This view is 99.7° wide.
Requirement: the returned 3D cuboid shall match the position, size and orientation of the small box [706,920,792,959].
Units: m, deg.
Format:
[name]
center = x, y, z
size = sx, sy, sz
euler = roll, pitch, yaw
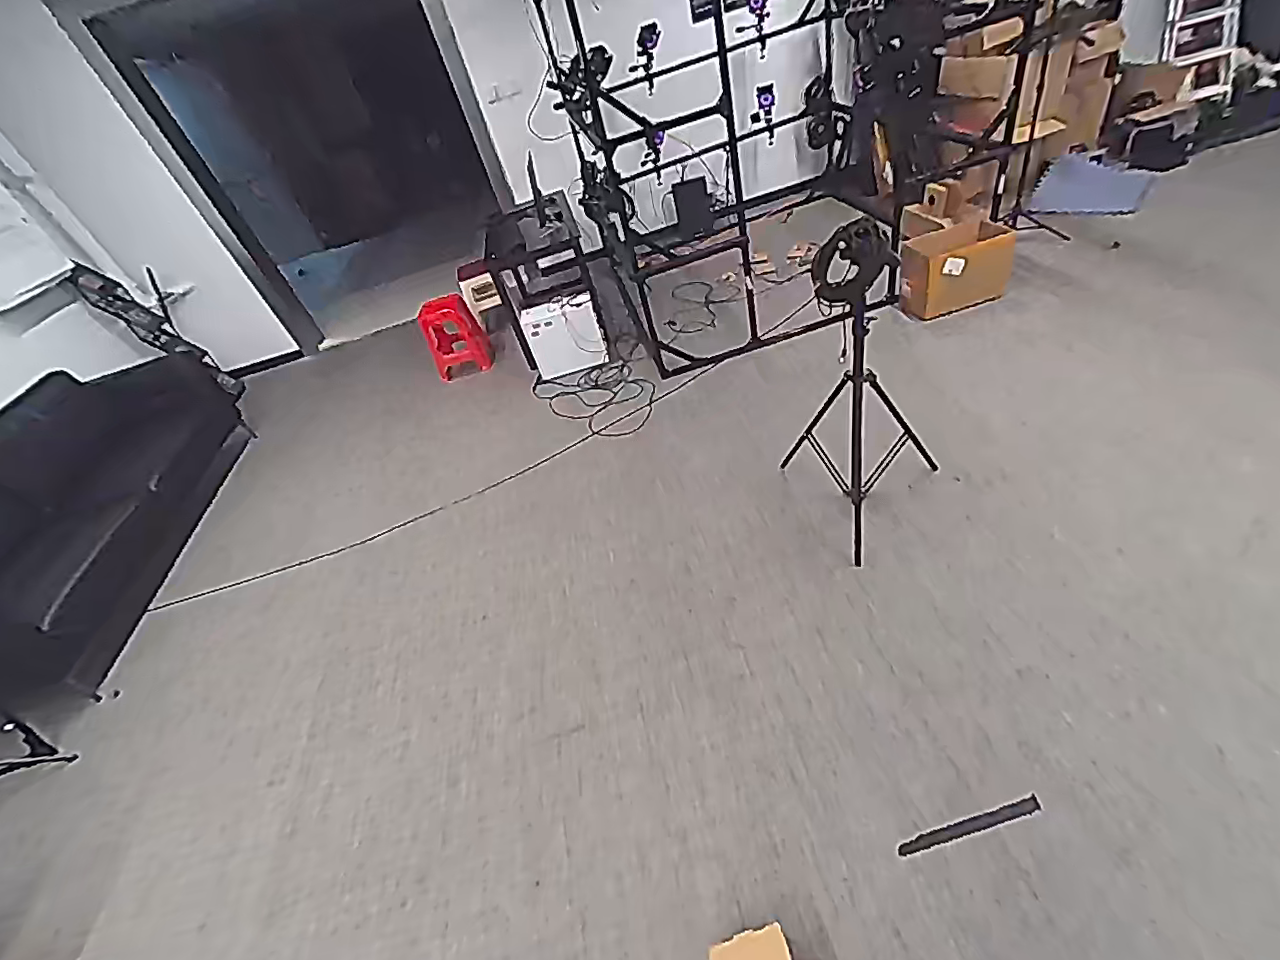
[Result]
[small box]
center = 0.253, 1.081, 1.144
size = 0.168, 0.176, 0.179
euler = -20, 40, 0
